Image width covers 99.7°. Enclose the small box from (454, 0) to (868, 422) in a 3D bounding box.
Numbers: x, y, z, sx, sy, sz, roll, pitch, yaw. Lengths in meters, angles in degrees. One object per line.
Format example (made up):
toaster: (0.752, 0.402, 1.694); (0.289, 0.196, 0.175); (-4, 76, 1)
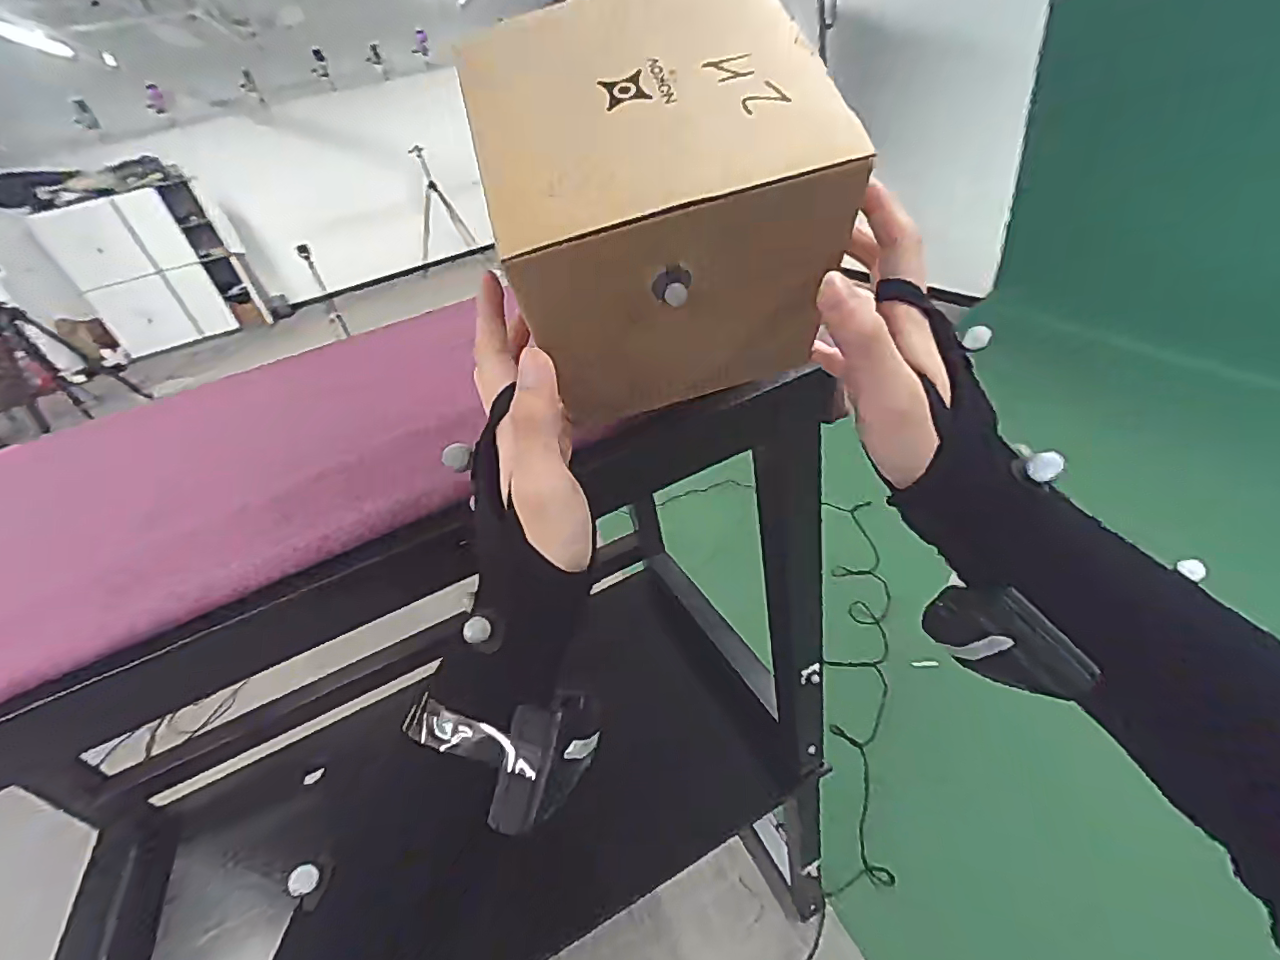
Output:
small box: (0.008, -0.156, 0.339); (0.179, 0.176, 0.168); (-15, 69, 0)
